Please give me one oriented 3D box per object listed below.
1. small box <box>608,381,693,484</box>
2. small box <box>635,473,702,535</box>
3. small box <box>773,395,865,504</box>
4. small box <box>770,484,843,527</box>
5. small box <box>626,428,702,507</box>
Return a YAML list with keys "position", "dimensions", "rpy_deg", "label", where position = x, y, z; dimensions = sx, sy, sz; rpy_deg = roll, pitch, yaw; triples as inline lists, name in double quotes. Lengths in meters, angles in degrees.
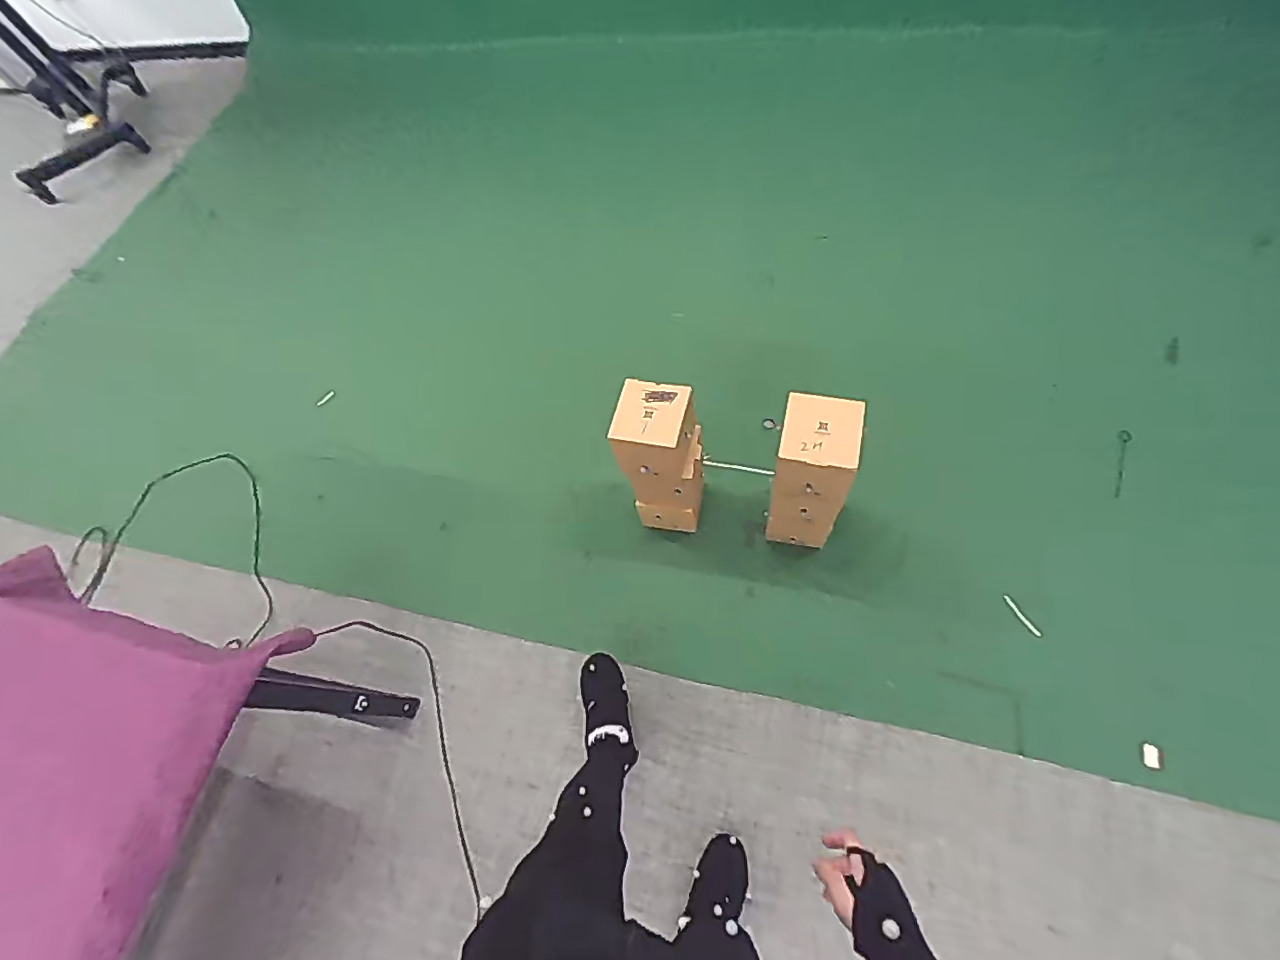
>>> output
- position: [0.034, -0.114, 1.330]
  dimensions: [0.168, 0.176, 0.179]
  rpy_deg: [10, 65, 14]
  label: "small box"
- position: [0.092, 0.049, 1.607]
  dimensions: [0.168, 0.176, 0.179]
  rpy_deg: [6, 64, 12]
  label: "small box"
- position: [0.406, -0.068, 1.244]
  dimensions: [0.168, 0.176, 0.179]
  rpy_deg: [11, 67, 14]
  label: "small box"
- position: [0.431, 0.005, 1.390]
  dimensions: [0.168, 0.176, 0.179]
  rpy_deg: [10, 67, 12]
  label: "small box"
- position: [0.073, -0.037, 1.470]
  dimensions: [0.179, 0.176, 0.168]
  rpy_deg: [6, 64, 12]
  label: "small box"
